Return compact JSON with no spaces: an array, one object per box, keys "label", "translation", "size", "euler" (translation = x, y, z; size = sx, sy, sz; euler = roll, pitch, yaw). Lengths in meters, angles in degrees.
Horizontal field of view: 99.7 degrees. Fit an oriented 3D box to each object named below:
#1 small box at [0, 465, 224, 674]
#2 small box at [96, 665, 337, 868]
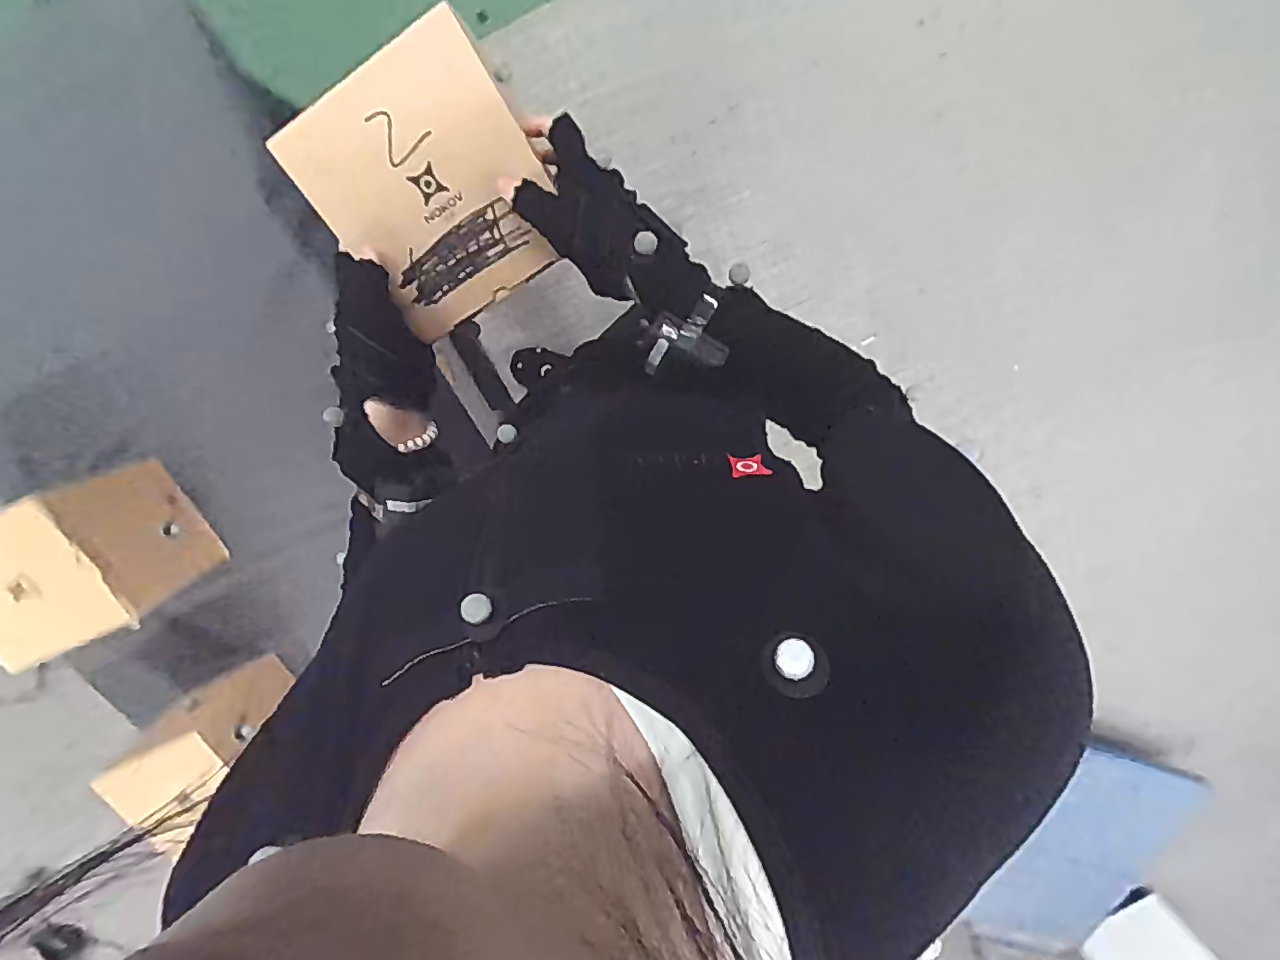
[{"label":"small box","translation":[-0.694,0.102,0.683],"size":[0.179,0.176,0.168],"euler":[-25,107,3]},{"label":"small box","translation":[-0.588,0.396,0.780],"size":[0.168,0.176,0.179],"euler":[-26,108,4]}]
